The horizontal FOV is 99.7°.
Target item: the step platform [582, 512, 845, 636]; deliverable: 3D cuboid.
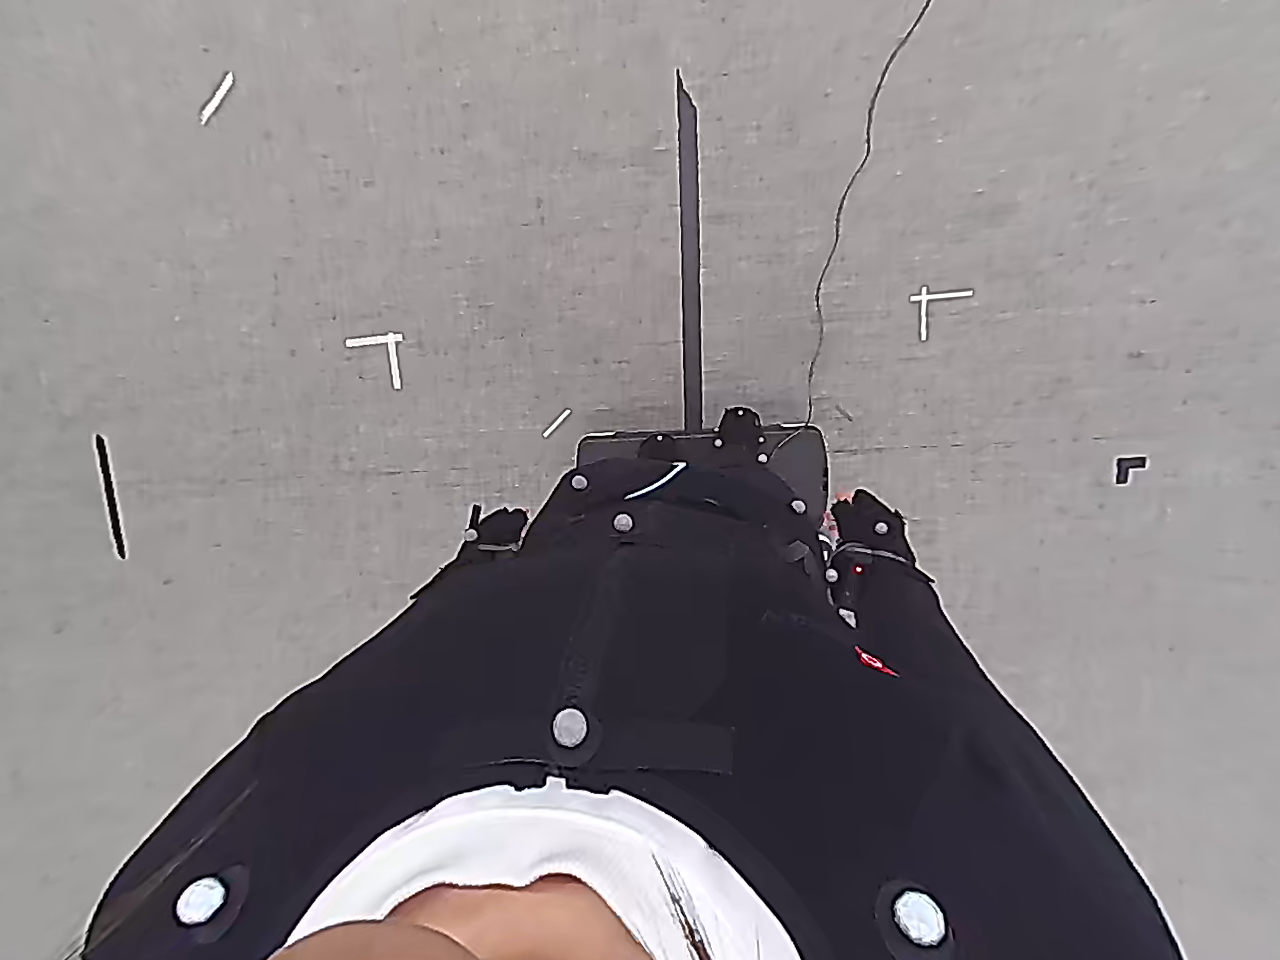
[{"bbox_3d":[0.188,0.254,1.456,0.684,0.204,0.286,-3,97,7],"label":"step platform"}]
